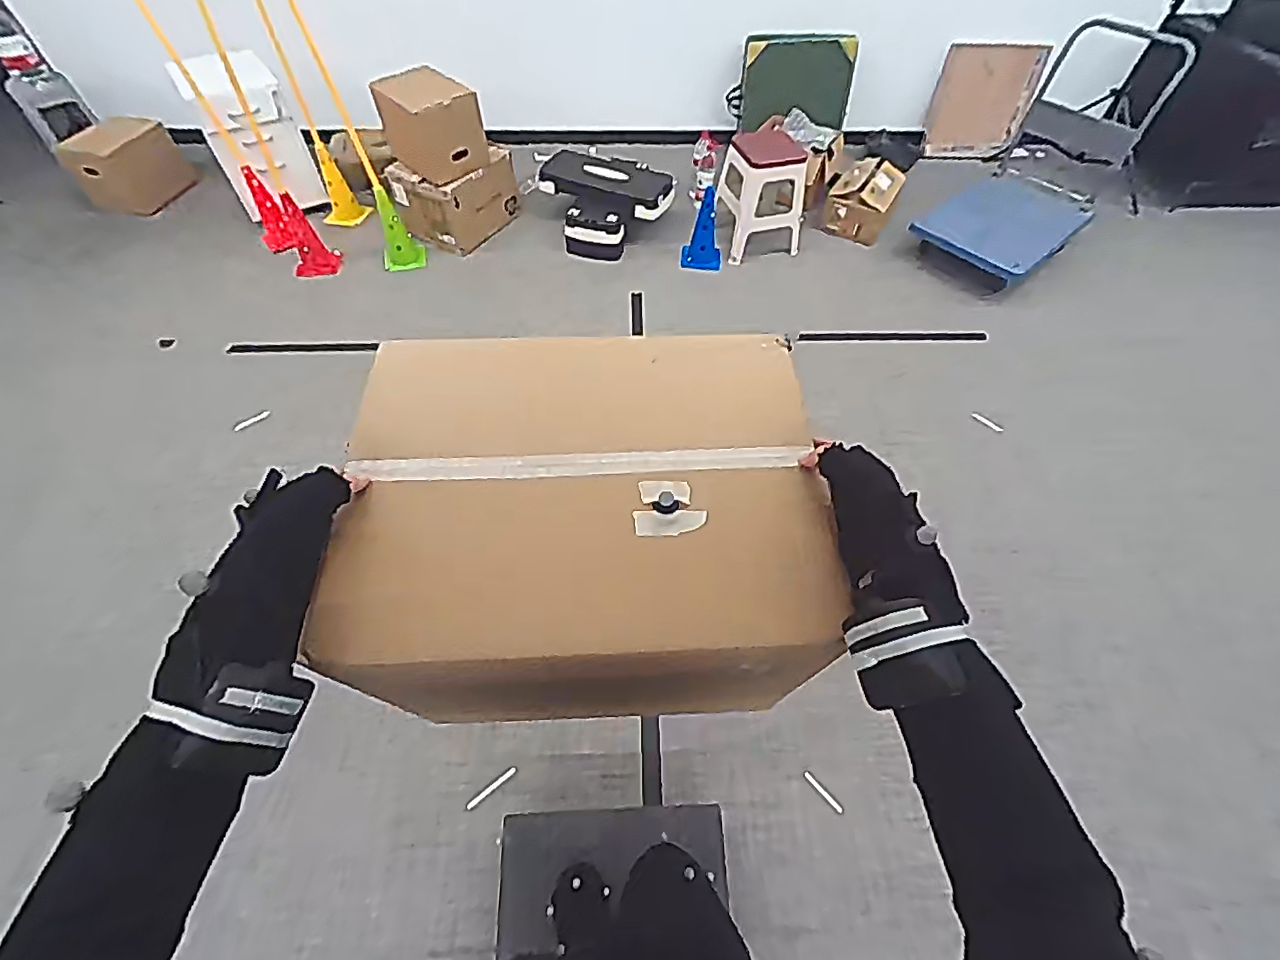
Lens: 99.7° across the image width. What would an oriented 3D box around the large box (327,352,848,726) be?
[{"bbox_3d":[-0.048,0.079,0.610,0.408,0.320,0.320,-1,58,-2],"label":"large box"}]
